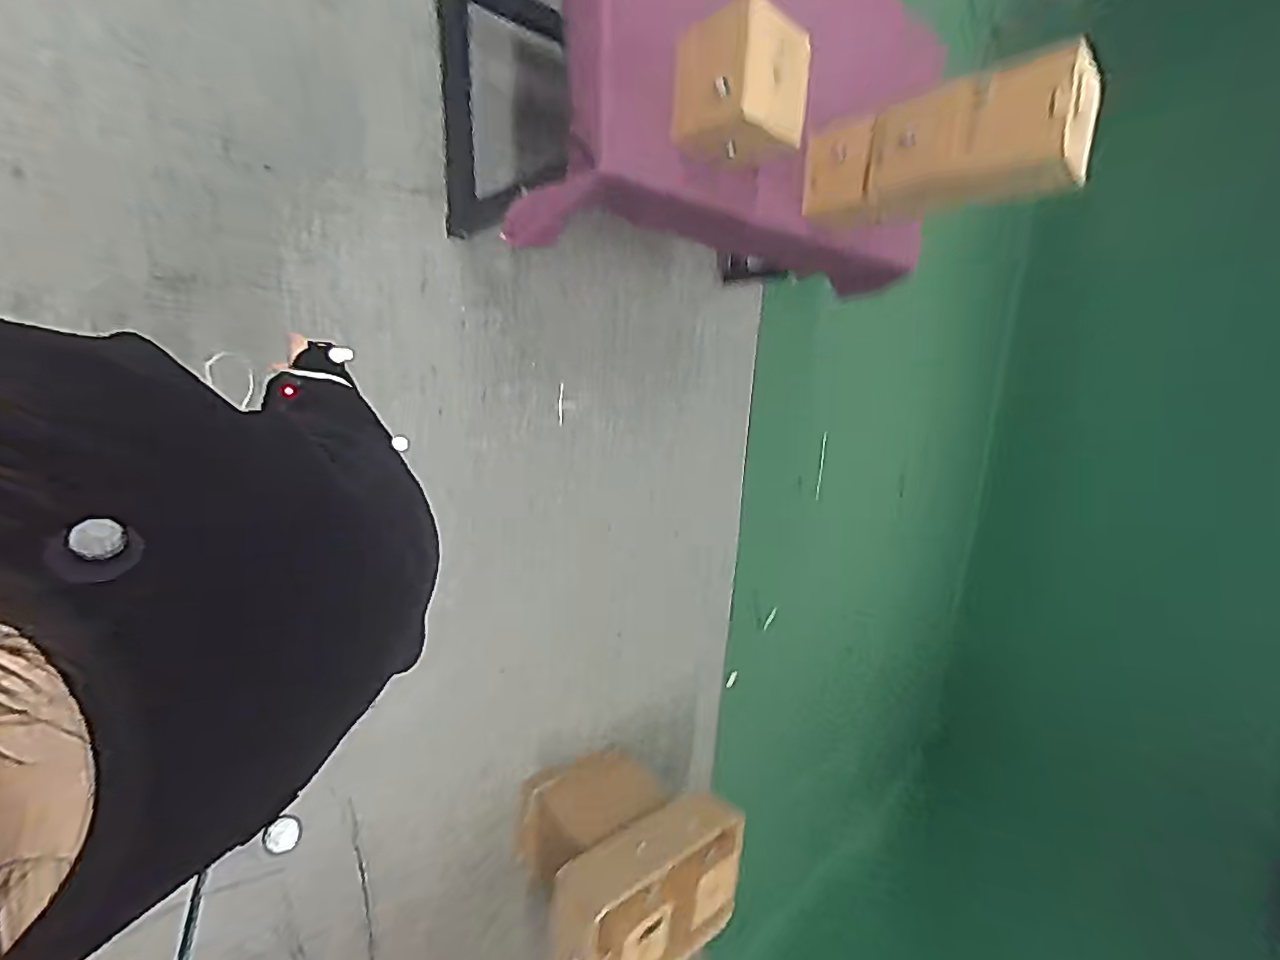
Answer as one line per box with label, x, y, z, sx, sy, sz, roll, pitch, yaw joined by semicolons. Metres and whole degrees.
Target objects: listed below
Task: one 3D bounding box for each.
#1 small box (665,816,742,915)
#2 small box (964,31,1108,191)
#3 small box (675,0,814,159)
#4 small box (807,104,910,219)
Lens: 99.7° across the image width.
small box;0.206;1.247;1.769;0.179;0.176;0.168;-1;100;-40
small box;0.714;-0.650;0.982;0.179;0.176;0.168;-4;102;-42
small box;0.177;-0.692;0.945;0.168;0.176;0.179;-6;104;-41
small box;0.500;-0.707;1.225;0.179;0.176;0.168;-8;105;-40
